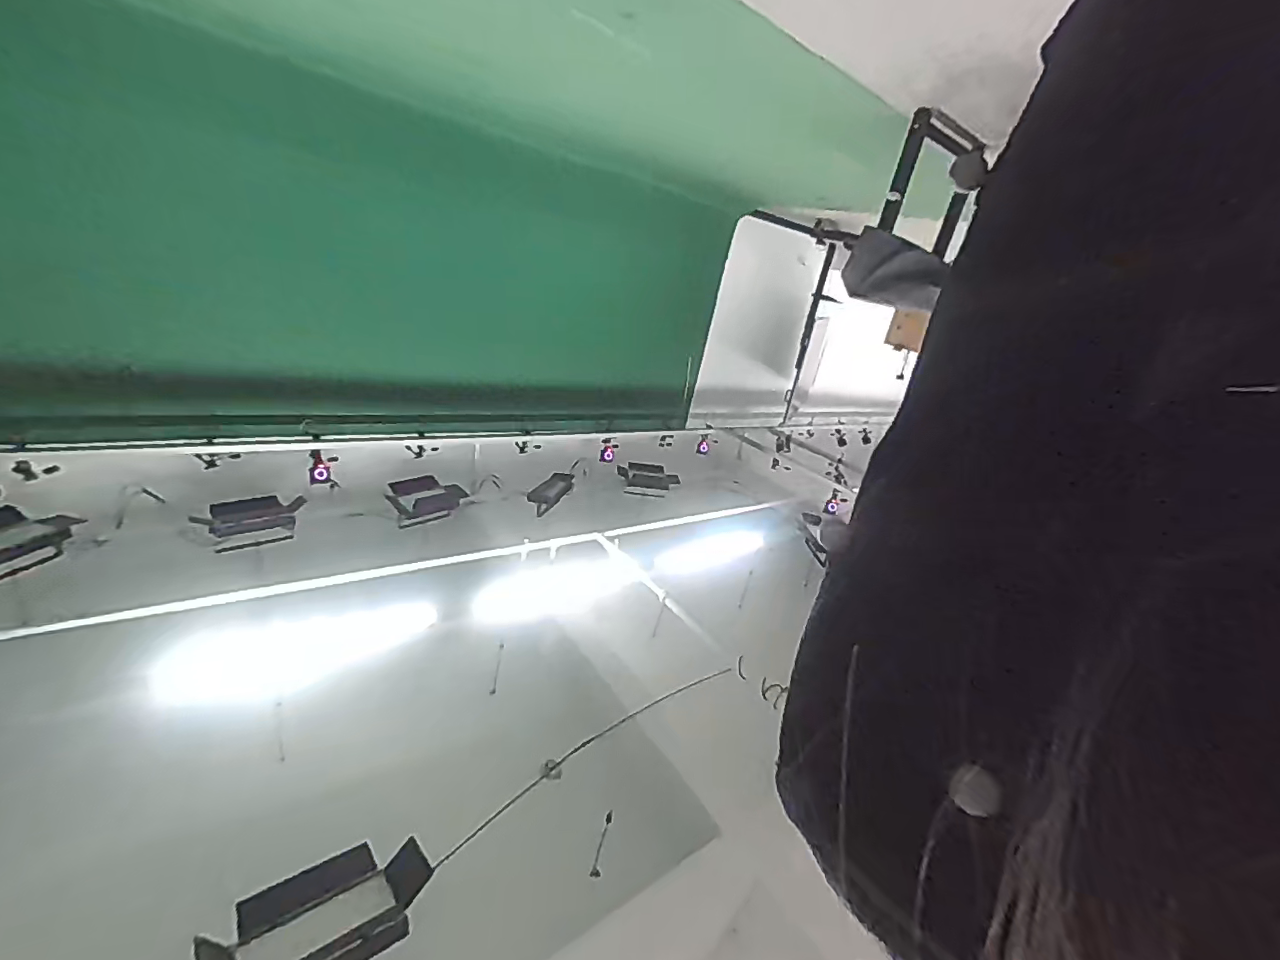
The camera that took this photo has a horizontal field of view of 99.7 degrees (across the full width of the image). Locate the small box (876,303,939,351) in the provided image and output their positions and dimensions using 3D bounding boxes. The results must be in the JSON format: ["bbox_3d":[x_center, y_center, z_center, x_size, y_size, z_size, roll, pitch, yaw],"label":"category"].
[{"bbox_3d":[1.182,-0.678,2.388,0.179,0.176,0.168,-9,-149,-39],"label":"small box"}]
